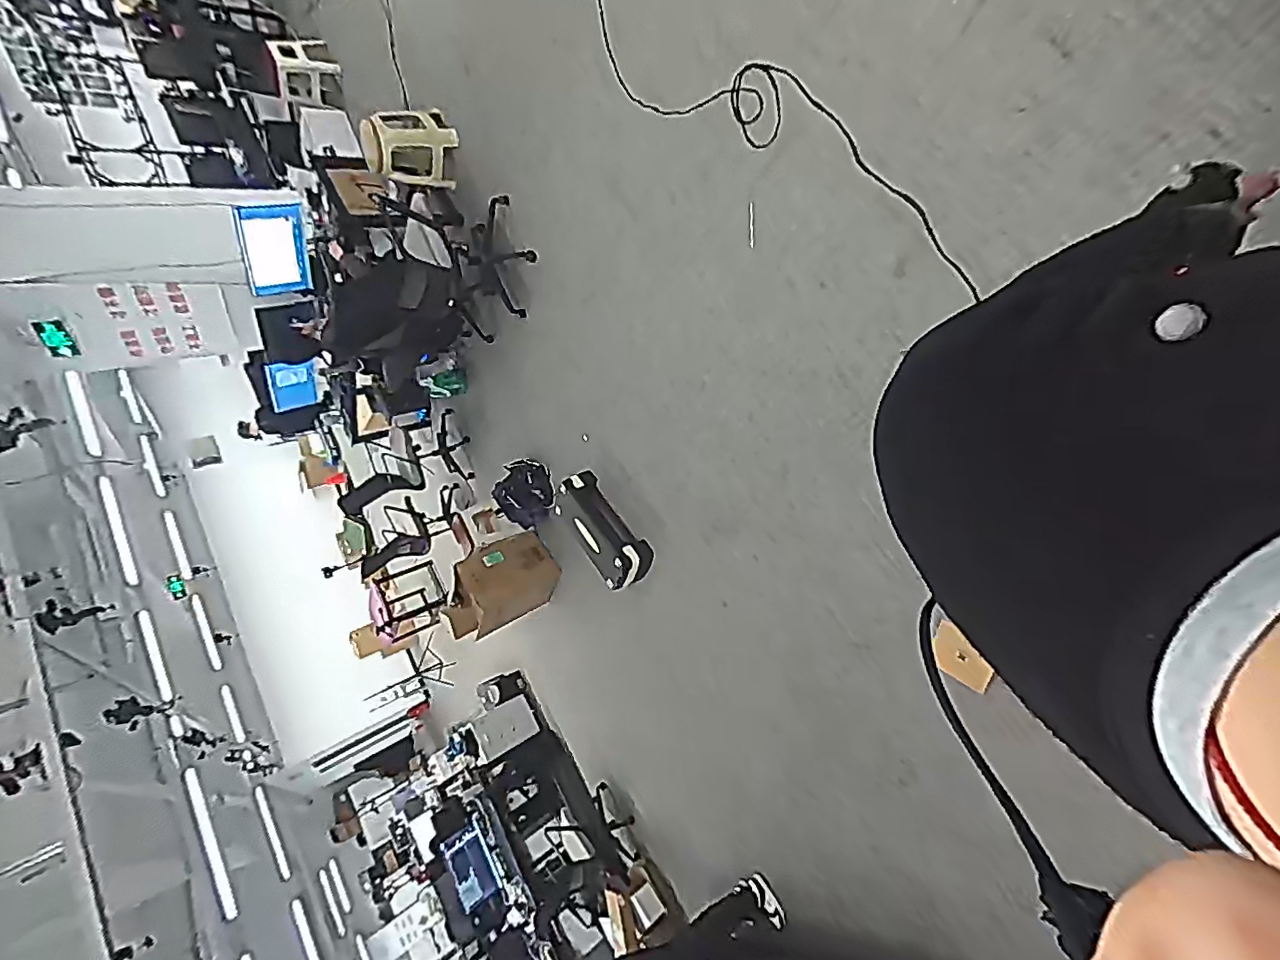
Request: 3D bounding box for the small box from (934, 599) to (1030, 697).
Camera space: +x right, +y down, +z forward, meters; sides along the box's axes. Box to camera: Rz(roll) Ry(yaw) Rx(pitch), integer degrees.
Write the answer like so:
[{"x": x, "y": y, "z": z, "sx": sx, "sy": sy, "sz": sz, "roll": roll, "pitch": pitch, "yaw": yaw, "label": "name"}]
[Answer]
[{"x": 0.995, "y": 0.479, "z": 1.570, "sx": 0.168, "sy": 0.176, "sz": 0.179, "roll": 31, "pitch": 132, "yaw": 44, "label": "small box"}]
